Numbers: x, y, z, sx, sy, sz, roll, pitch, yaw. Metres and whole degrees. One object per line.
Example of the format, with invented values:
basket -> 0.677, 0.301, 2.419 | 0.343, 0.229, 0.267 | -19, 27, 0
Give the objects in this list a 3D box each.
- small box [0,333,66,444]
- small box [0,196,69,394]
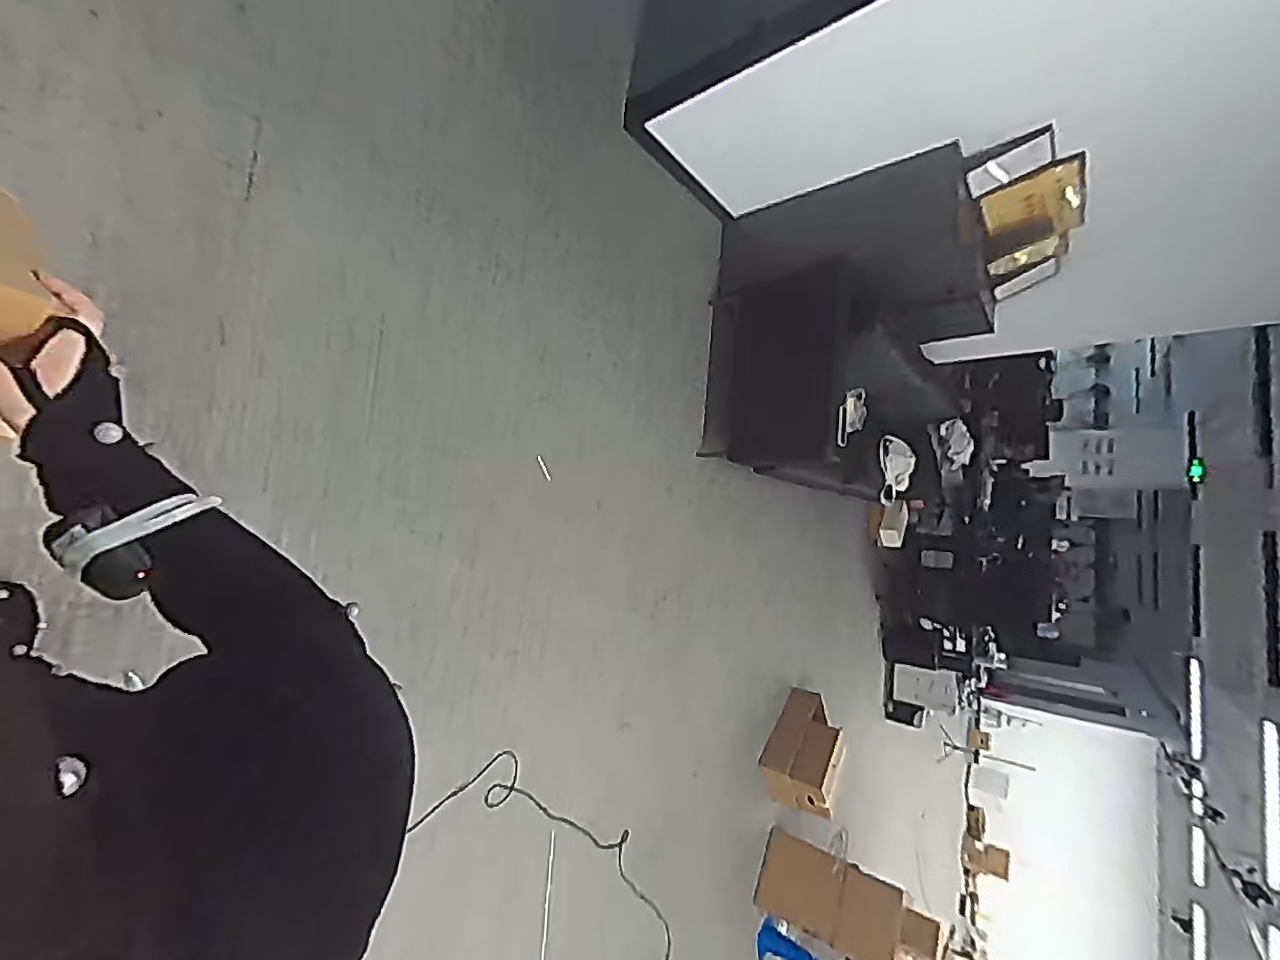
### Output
small box -> -0.973, -0.149, 0.773 | 0.179, 0.176, 0.168 | 16, 78, -49
small box -> -0.562, -0.141, 0.358 | 0.168, 0.176, 0.179 | -42, 162, 5
